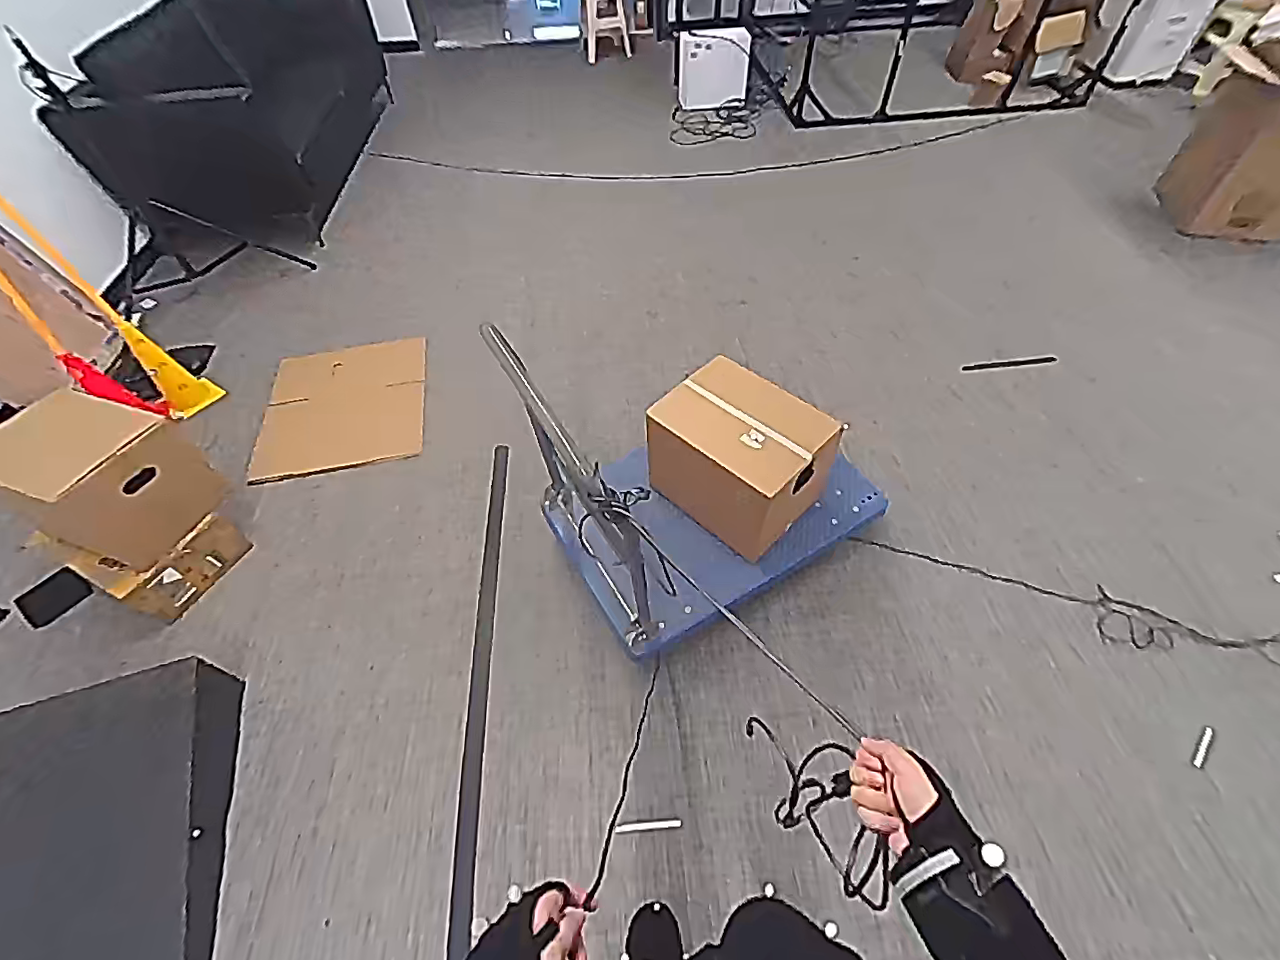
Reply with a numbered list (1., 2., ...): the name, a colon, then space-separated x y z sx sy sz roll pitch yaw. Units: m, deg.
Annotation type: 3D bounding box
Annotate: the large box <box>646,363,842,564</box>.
1. large box: 0.262 -0.049 1.486 0.408 0.320 0.320 37 63 26
